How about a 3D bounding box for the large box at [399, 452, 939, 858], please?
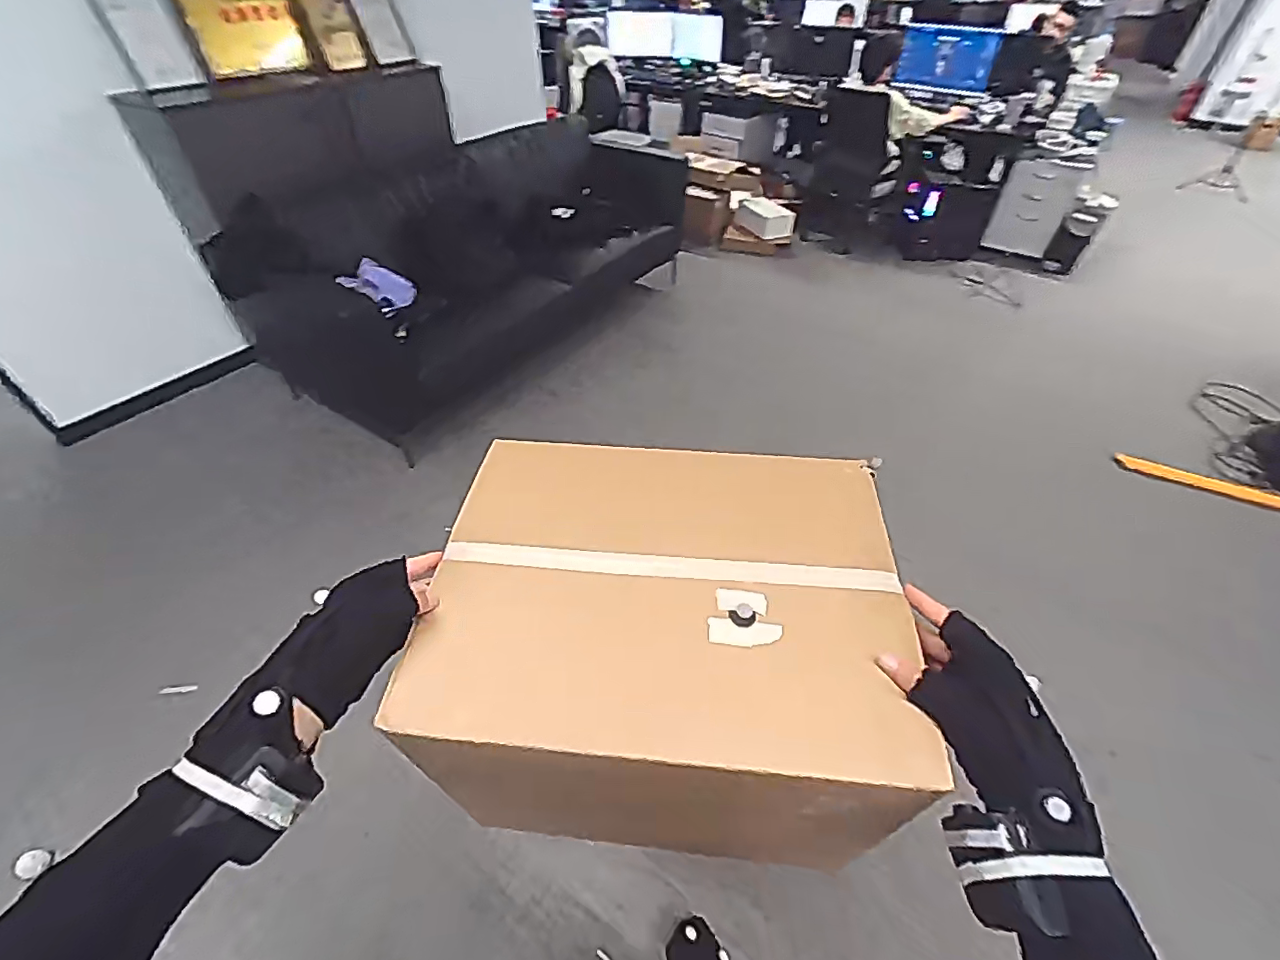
[{"bbox_3d":[0.026,0.191,0.600,0.408,0.320,0.320,4,46,4],"label":"large box"}]
